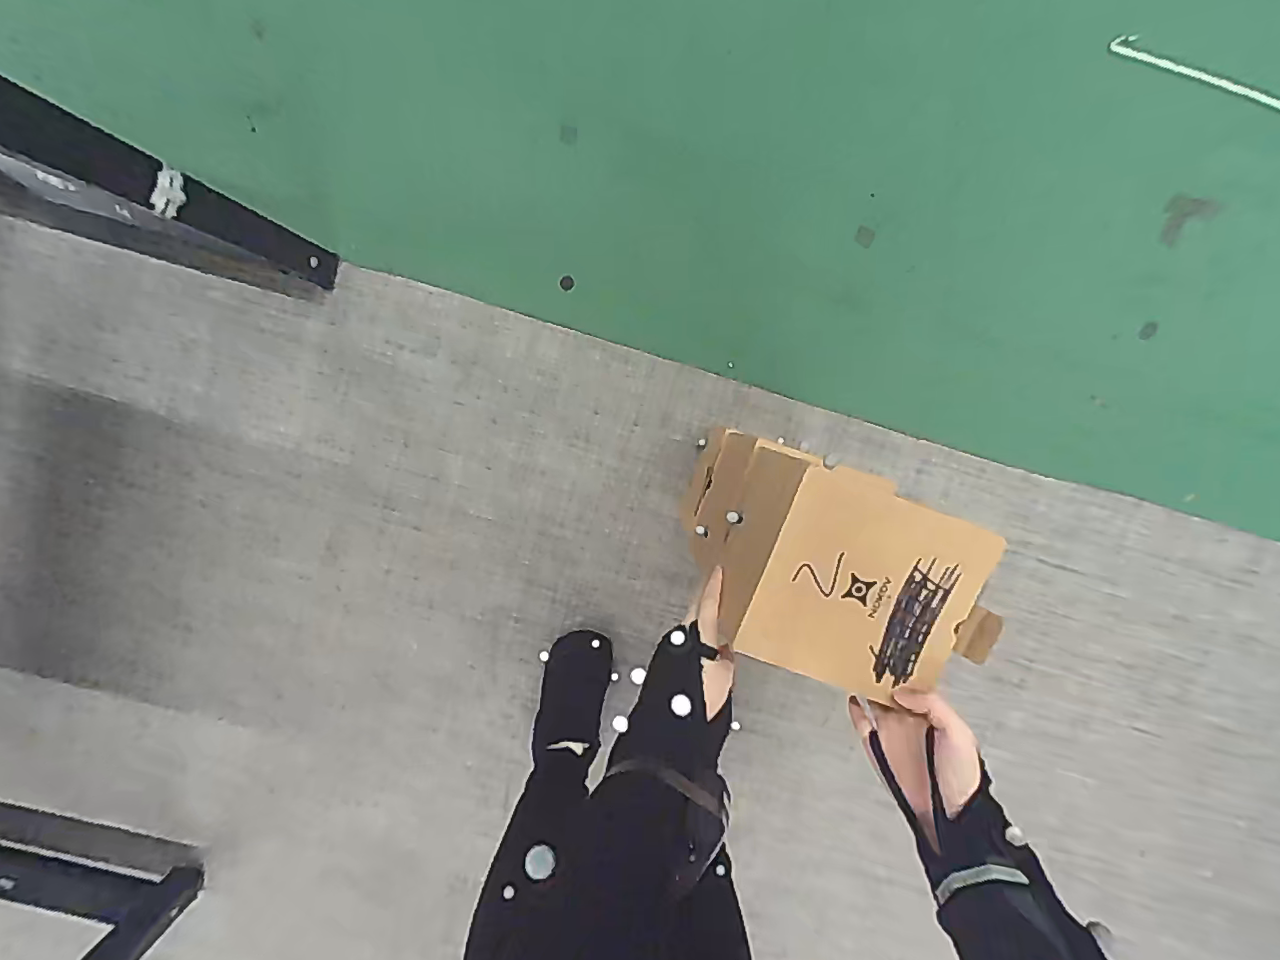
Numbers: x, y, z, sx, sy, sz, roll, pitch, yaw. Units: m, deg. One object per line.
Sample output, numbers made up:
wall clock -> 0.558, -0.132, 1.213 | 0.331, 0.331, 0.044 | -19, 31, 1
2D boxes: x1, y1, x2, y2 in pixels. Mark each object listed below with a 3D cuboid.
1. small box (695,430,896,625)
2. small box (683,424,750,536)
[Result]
small box -> 0.172, 0.046, 0.665 | 0.168, 0.176, 0.179 | 18, 96, -4
small box -> 0.174, 0.020, 0.825 | 0.179, 0.176, 0.168 | 19, 97, -3
